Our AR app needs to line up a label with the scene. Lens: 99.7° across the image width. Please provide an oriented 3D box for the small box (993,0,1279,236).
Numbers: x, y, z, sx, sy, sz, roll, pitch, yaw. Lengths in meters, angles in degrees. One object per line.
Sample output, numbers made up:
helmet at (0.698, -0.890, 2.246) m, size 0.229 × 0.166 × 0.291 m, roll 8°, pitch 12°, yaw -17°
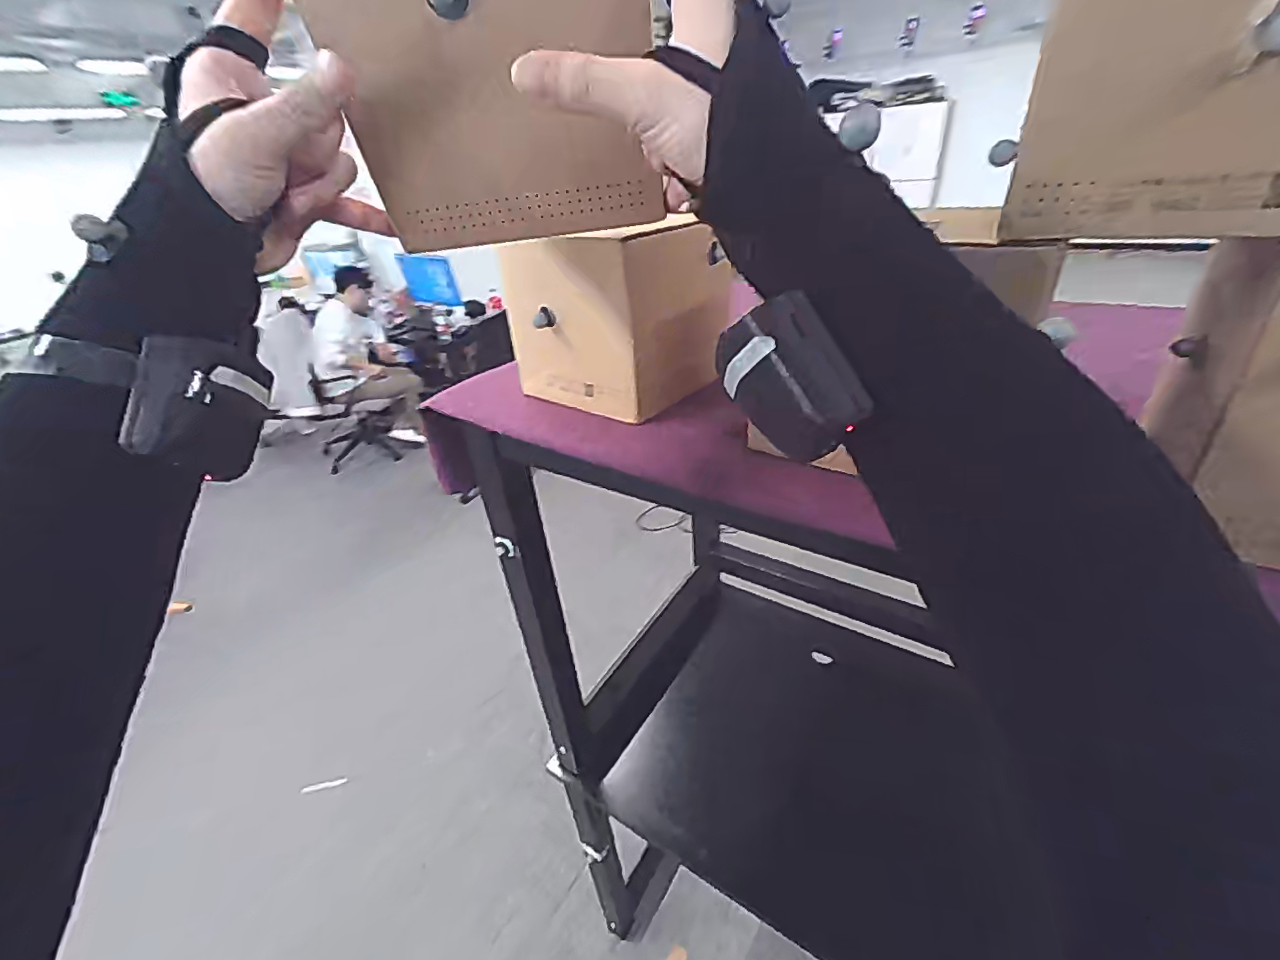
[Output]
small box at (0.293, -0.223, 0.270) m, size 0.168 × 0.176 × 0.179 m, roll 14°, pitch 36°, yaw 30°

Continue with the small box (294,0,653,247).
small box at (-0.090, -0.268, 0.348) m, size 0.179 × 0.176 × 0.168 m, roll -6°, pitch 48°, yaw 2°

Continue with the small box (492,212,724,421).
small box at (-0.022, -0.176, 0.568) m, size 0.168 × 0.176 × 0.179 m, roll 18°, pitch 37°, yaw 34°
